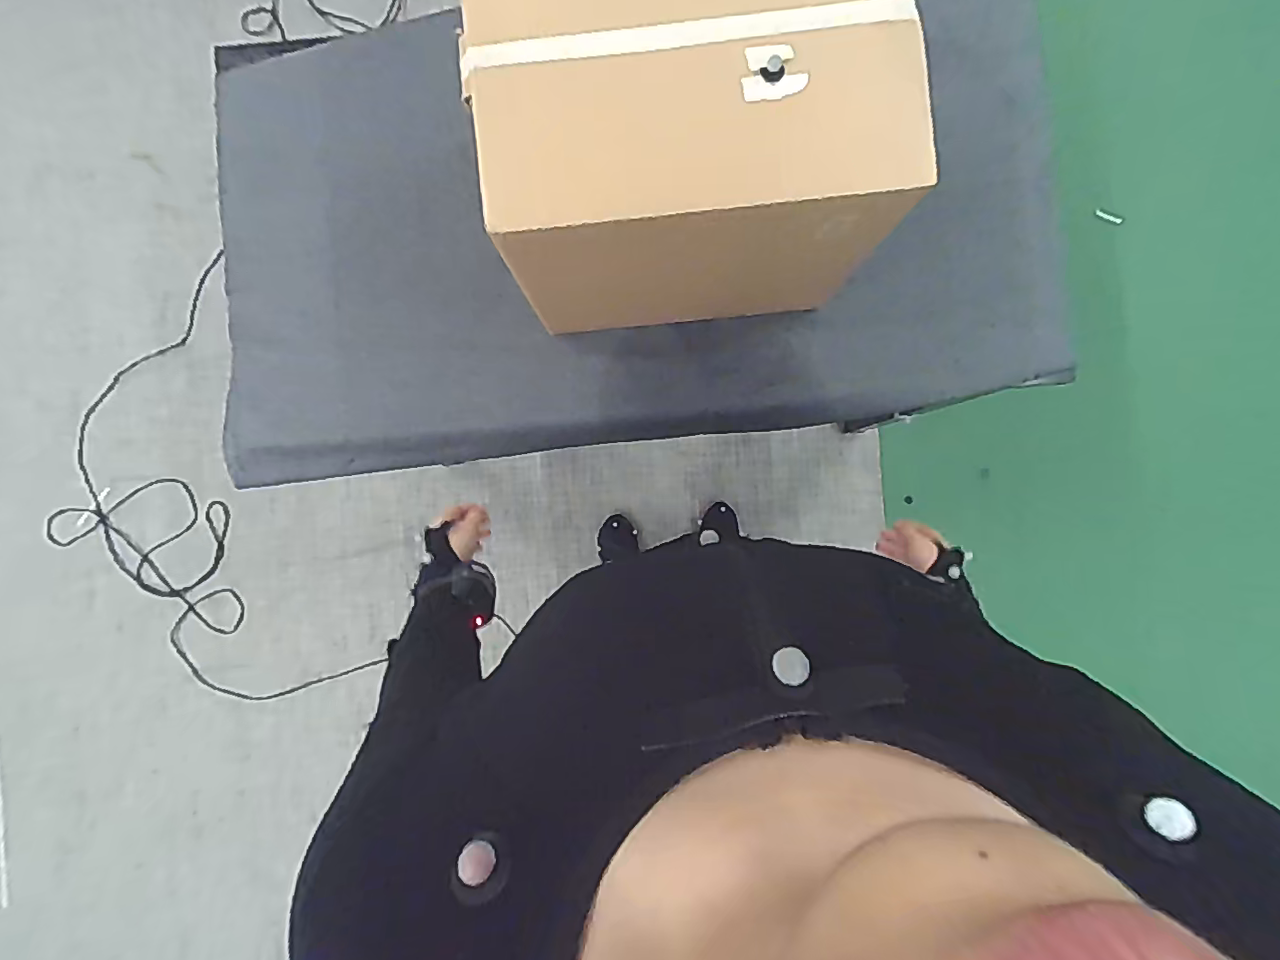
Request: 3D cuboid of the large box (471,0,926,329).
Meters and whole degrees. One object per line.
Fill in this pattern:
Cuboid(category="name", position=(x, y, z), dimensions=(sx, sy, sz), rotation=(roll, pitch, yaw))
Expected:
Cuboid(category="large box", position=(0.047, -0.396, 0.646), dimensions=(0.408, 0.320, 0.320), rotation=(-6, 89, 0))
